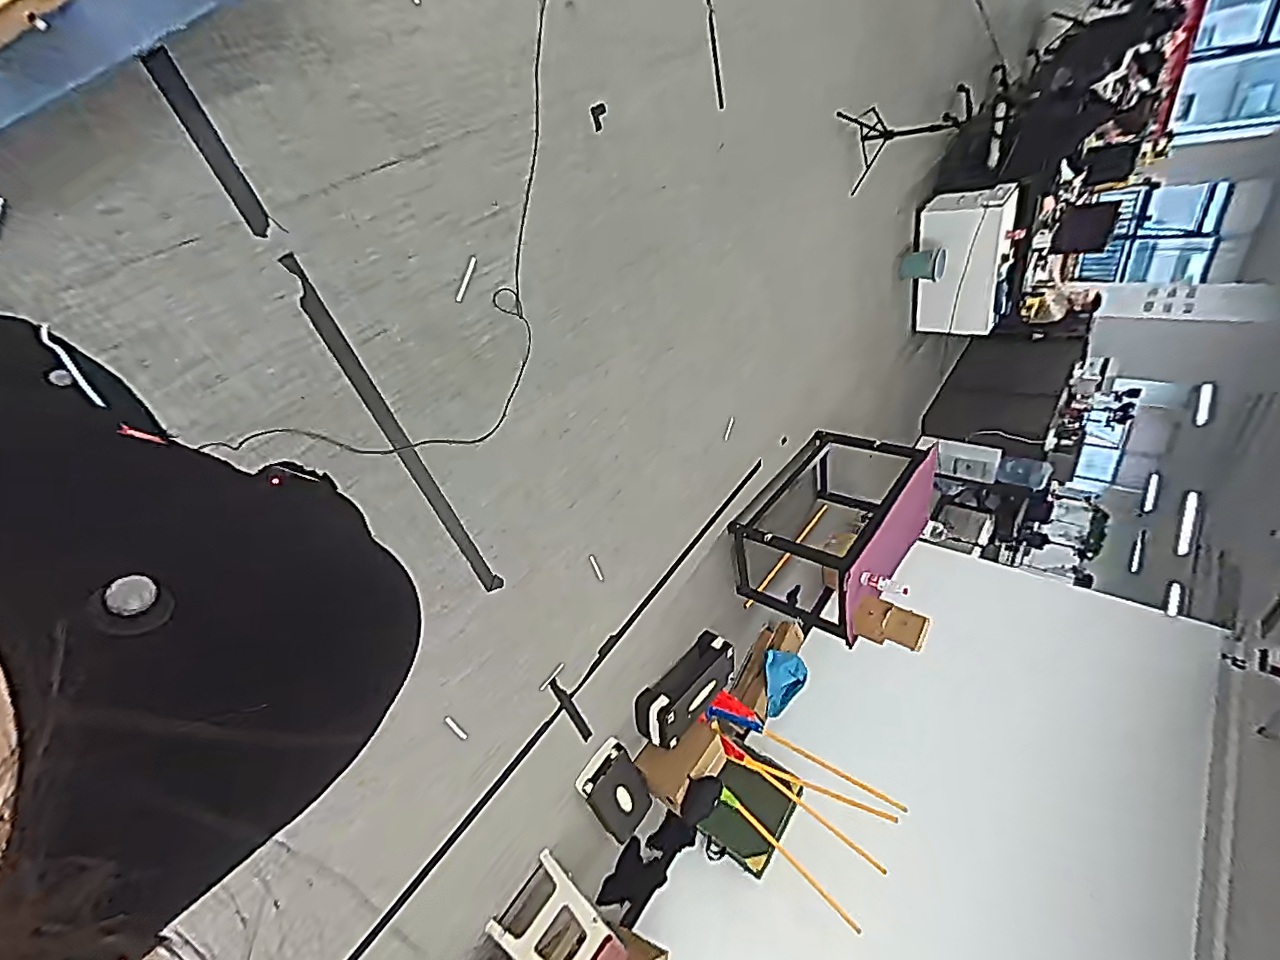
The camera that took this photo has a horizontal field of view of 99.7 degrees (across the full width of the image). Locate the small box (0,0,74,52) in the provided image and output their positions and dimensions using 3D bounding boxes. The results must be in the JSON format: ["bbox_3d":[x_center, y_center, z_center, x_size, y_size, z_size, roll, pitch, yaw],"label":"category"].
[{"bbox_3d":[-0.866,-0.688,0.678,0.168,0.176,0.179,-58,139,-17],"label":"small box"}]
